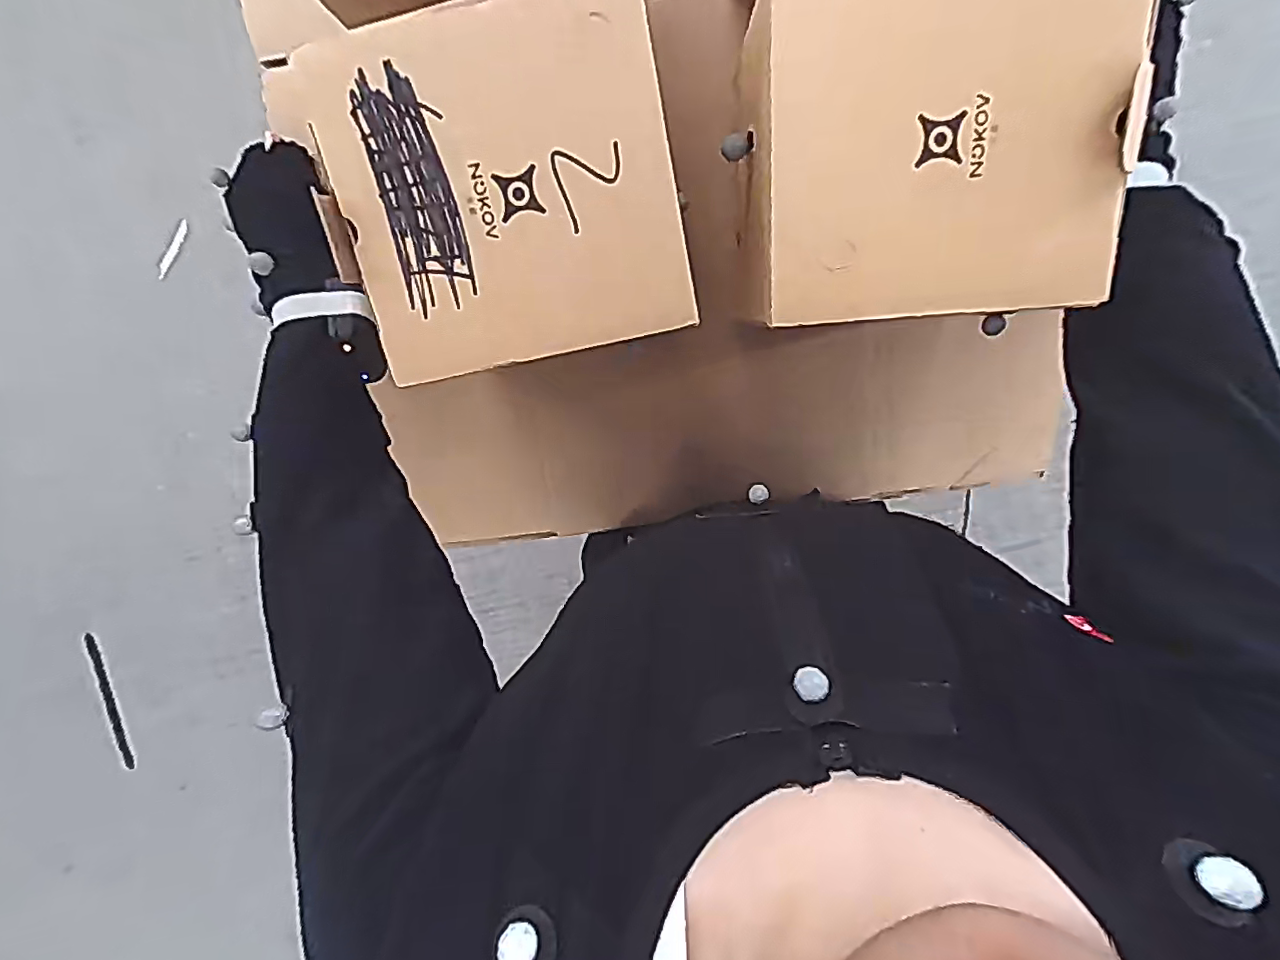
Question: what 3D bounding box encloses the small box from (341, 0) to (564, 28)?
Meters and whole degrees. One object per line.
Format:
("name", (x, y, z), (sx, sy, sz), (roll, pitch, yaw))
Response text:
("small box", (-0.134, -0.393, 0.296), (0.168, 0.176, 0.179), (-8, 104, 4))
